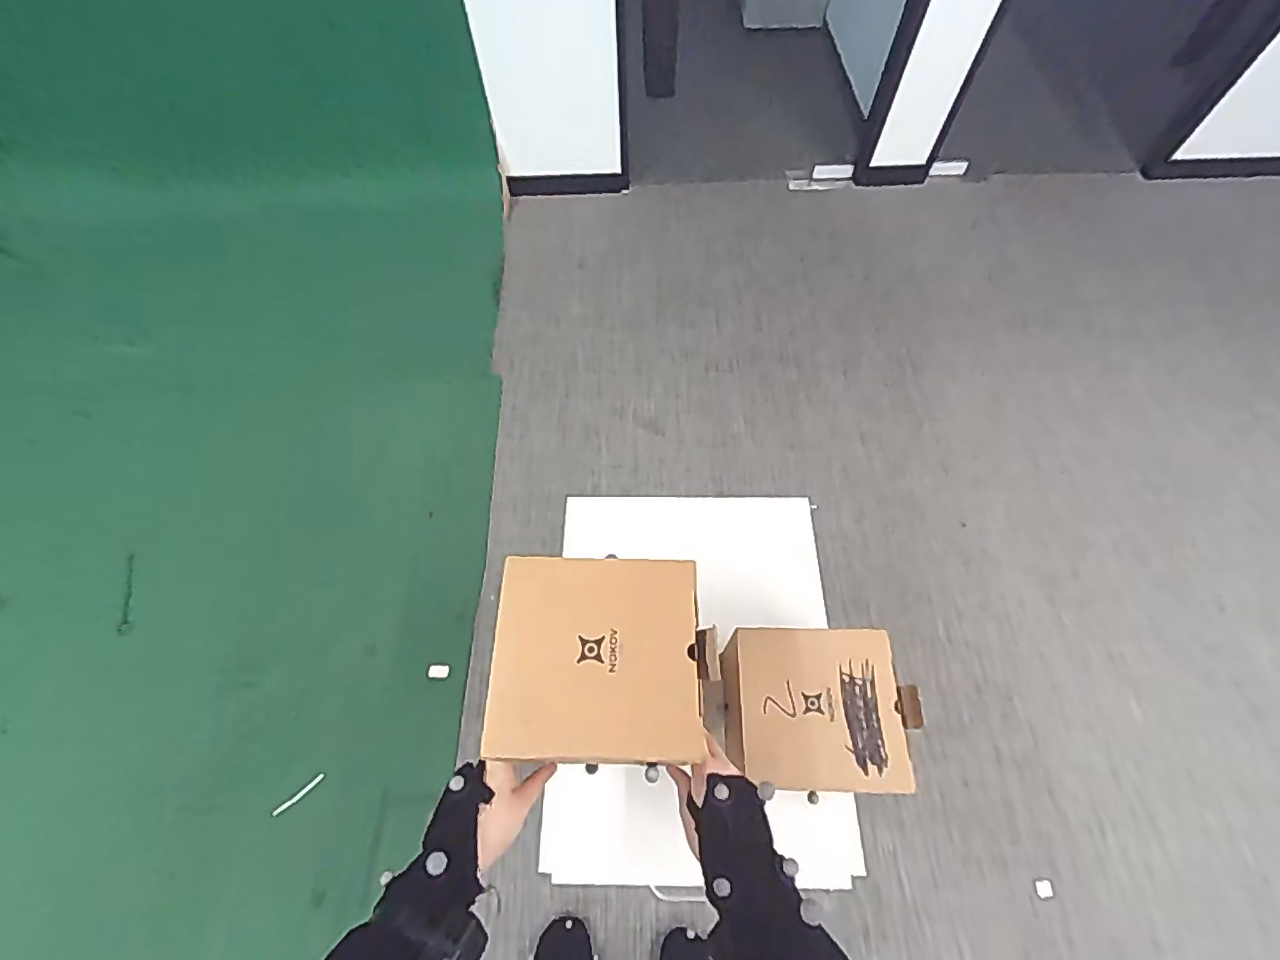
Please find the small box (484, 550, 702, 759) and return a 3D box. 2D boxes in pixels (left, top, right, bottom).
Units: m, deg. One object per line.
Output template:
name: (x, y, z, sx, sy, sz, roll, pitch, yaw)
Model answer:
small box: (-0.038, 0.178, 0.533, 0.179, 0.176, 0.168, 2, 61, -2)
